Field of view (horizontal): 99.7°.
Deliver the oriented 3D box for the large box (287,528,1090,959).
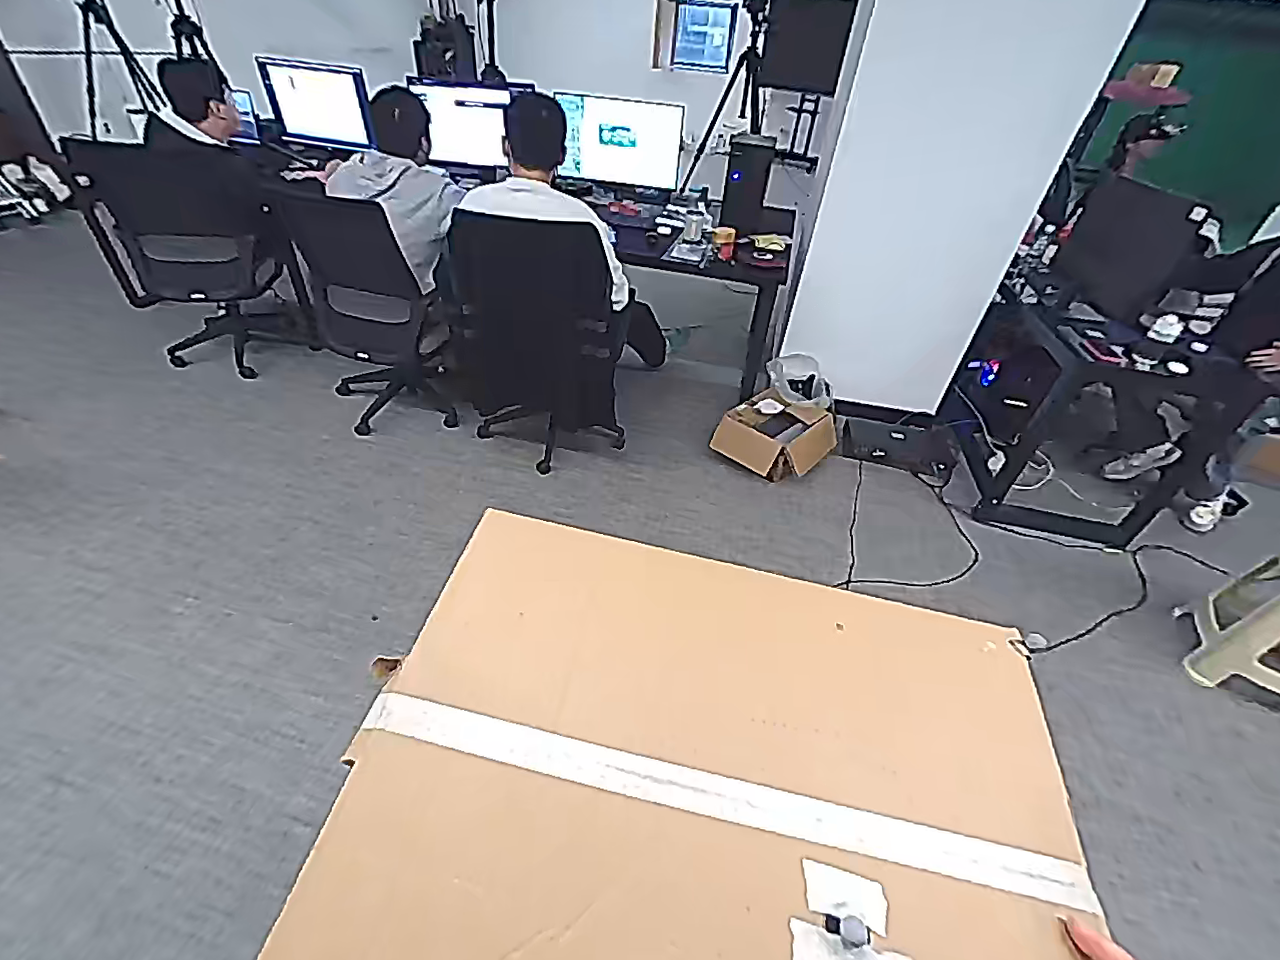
[{"bbox_3d":[0.031,0.284,0.426,0.408,0.320,0.320,13,50,3],"label":"large box"}]
